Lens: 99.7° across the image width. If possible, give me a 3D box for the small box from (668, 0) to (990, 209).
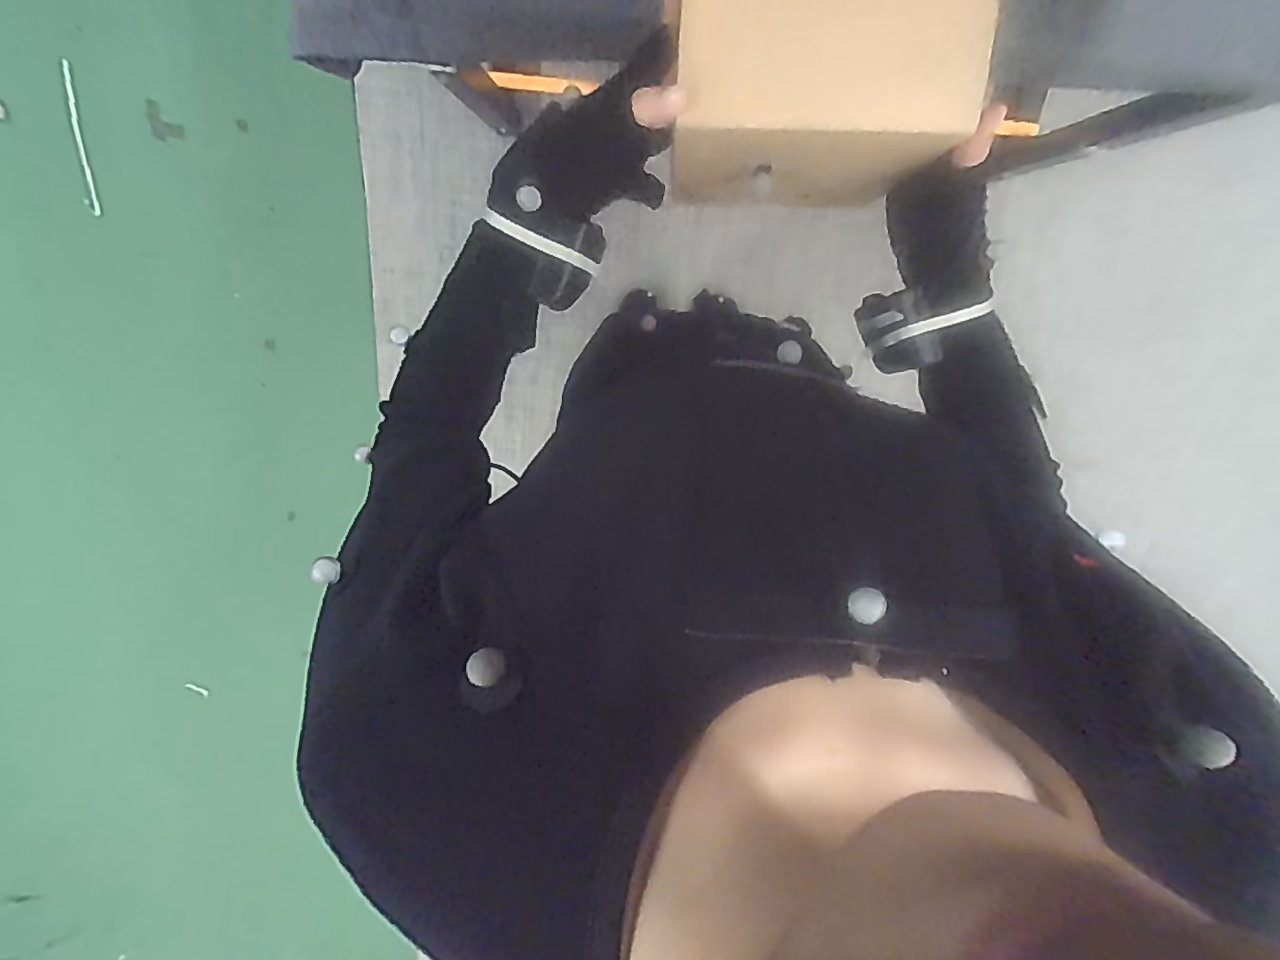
[{"bbox_3d":[0.107,-0.293,0.357,0.168,0.176,0.179,3,101,3],"label":"small box"}]
